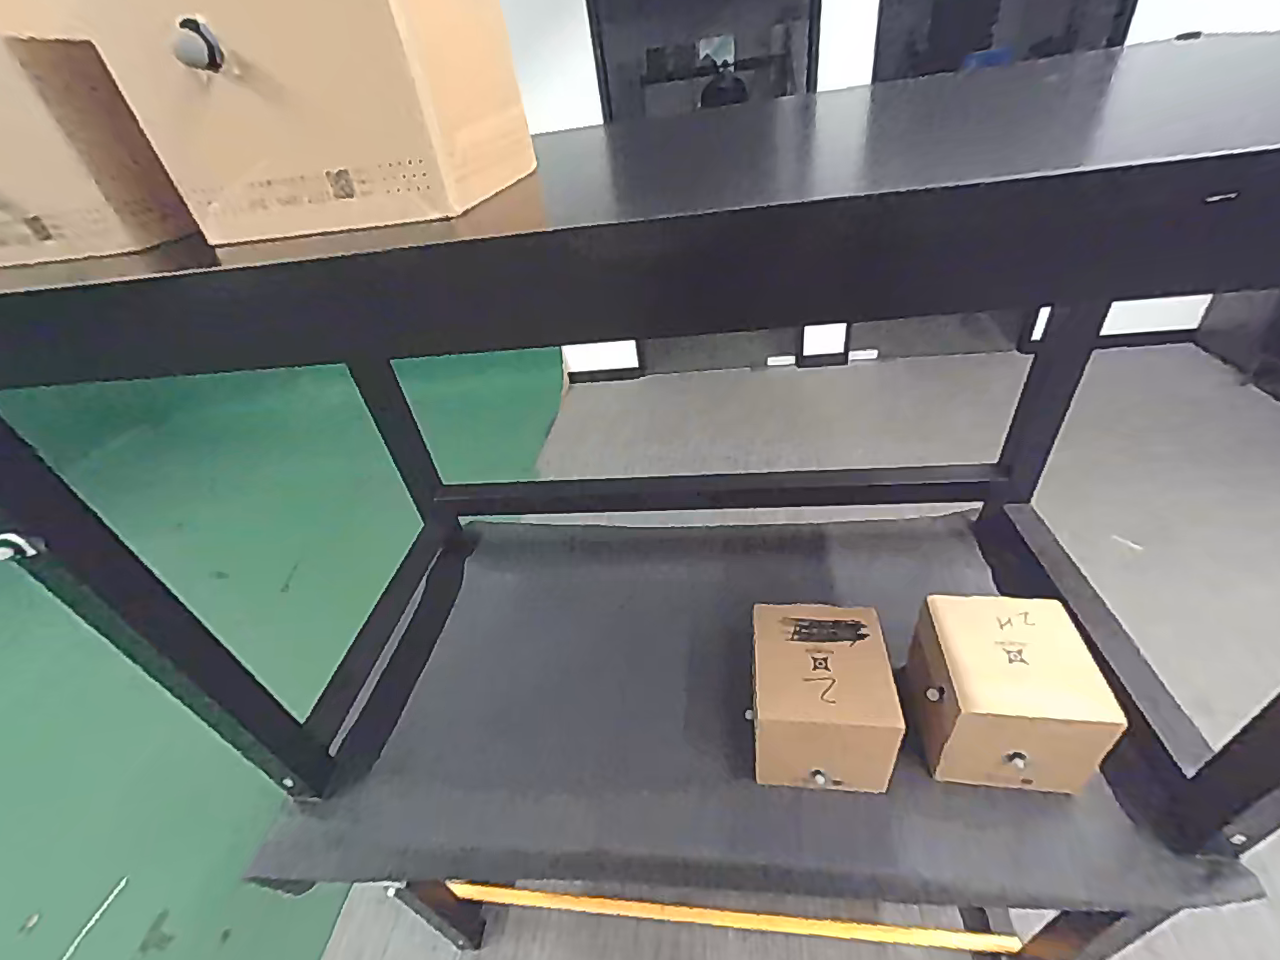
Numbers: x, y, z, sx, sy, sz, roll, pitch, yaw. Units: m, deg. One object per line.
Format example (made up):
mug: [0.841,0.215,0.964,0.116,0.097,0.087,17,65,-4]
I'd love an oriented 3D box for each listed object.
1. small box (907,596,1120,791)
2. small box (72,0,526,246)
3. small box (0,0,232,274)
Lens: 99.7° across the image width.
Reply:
small box: [0.465,0.277,0.709,0.168,0.176,0.179,0,37,12]
small box: [-0.188,-0.258,0.346,0.168,0.176,0.179,-2,37,11]
small box: [-0.408,-0.261,0.394,0.168,0.176,0.179,-2,38,10]
